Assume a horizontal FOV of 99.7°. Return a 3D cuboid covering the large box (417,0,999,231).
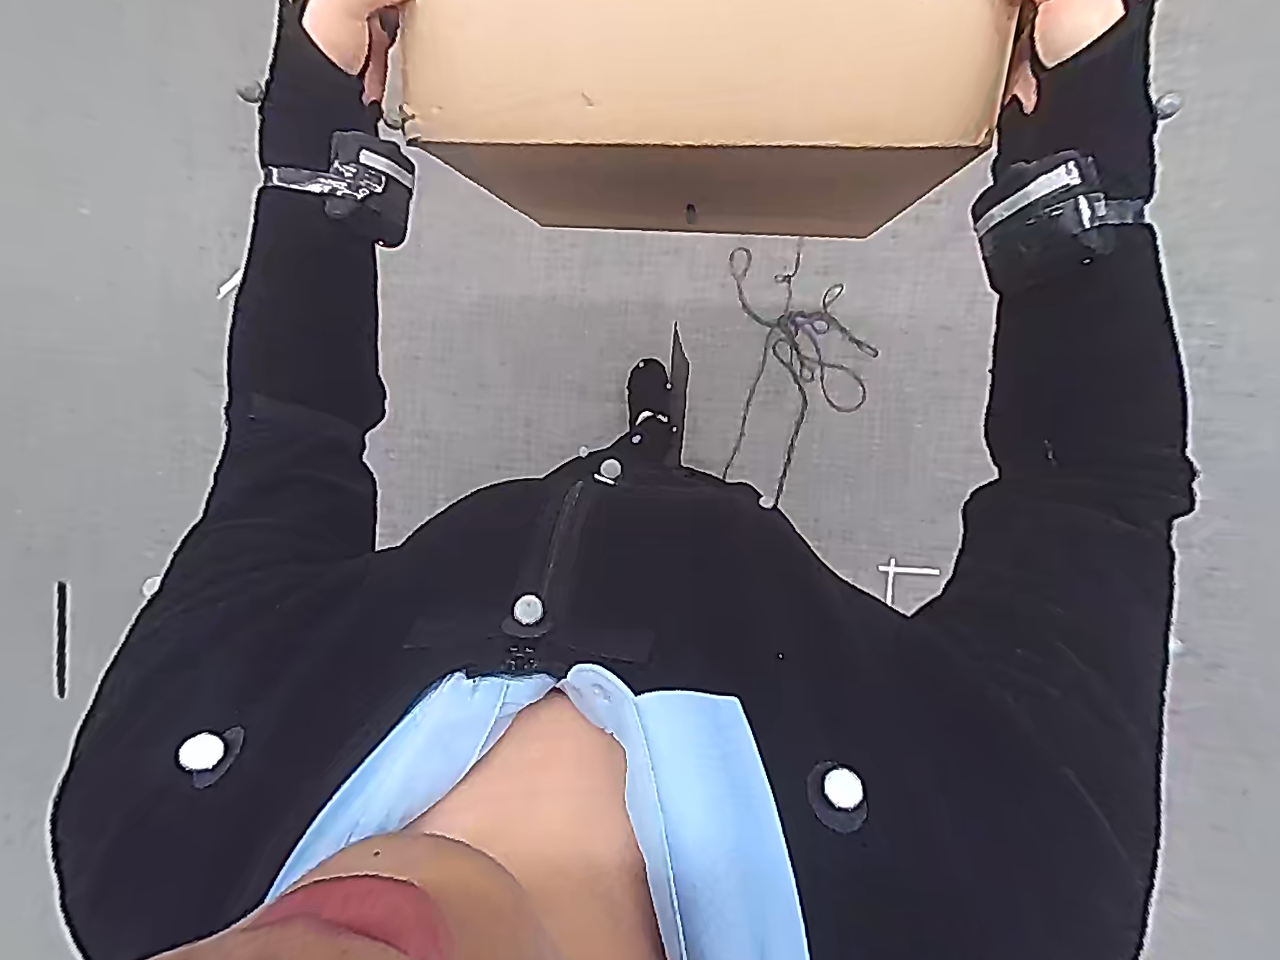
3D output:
[{"bbox_3d":[0.060,-0.422,0.497,0.408,0.320,0.320,4,103,7],"label":"large box"}]
